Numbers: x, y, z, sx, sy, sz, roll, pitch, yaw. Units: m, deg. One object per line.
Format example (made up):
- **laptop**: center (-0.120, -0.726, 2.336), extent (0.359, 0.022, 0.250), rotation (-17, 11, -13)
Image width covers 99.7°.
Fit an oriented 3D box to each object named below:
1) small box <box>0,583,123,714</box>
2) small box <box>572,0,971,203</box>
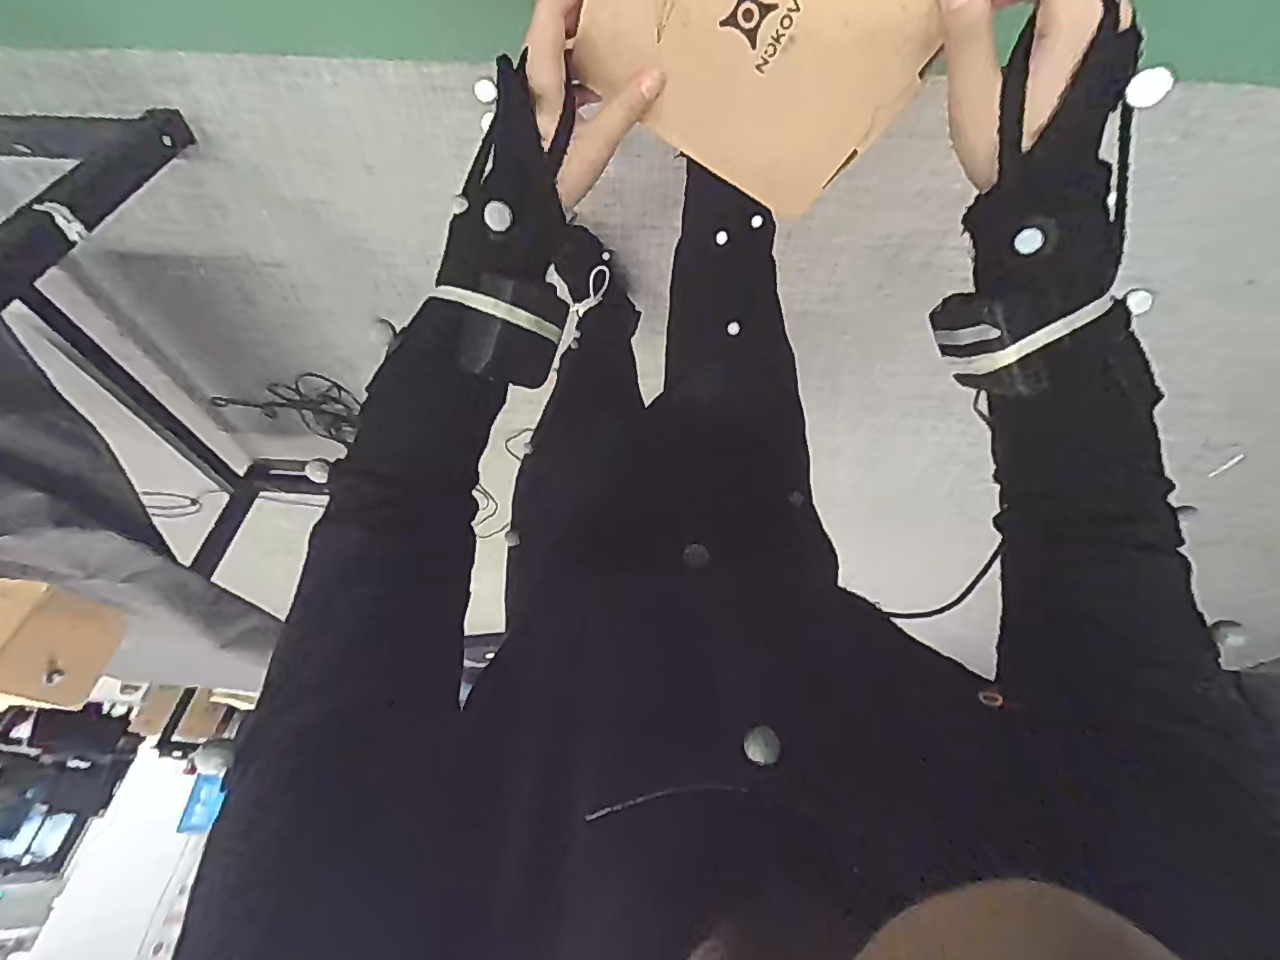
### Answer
- **small box**: center (-1.027, 0.272, 0.880), extent (0.168, 0.176, 0.179), rotation (2, 147, 5)
- **small box**: center (0.088, -0.313, 0.307), extent (0.179, 0.176, 0.168), rotation (28, 155, -10)
